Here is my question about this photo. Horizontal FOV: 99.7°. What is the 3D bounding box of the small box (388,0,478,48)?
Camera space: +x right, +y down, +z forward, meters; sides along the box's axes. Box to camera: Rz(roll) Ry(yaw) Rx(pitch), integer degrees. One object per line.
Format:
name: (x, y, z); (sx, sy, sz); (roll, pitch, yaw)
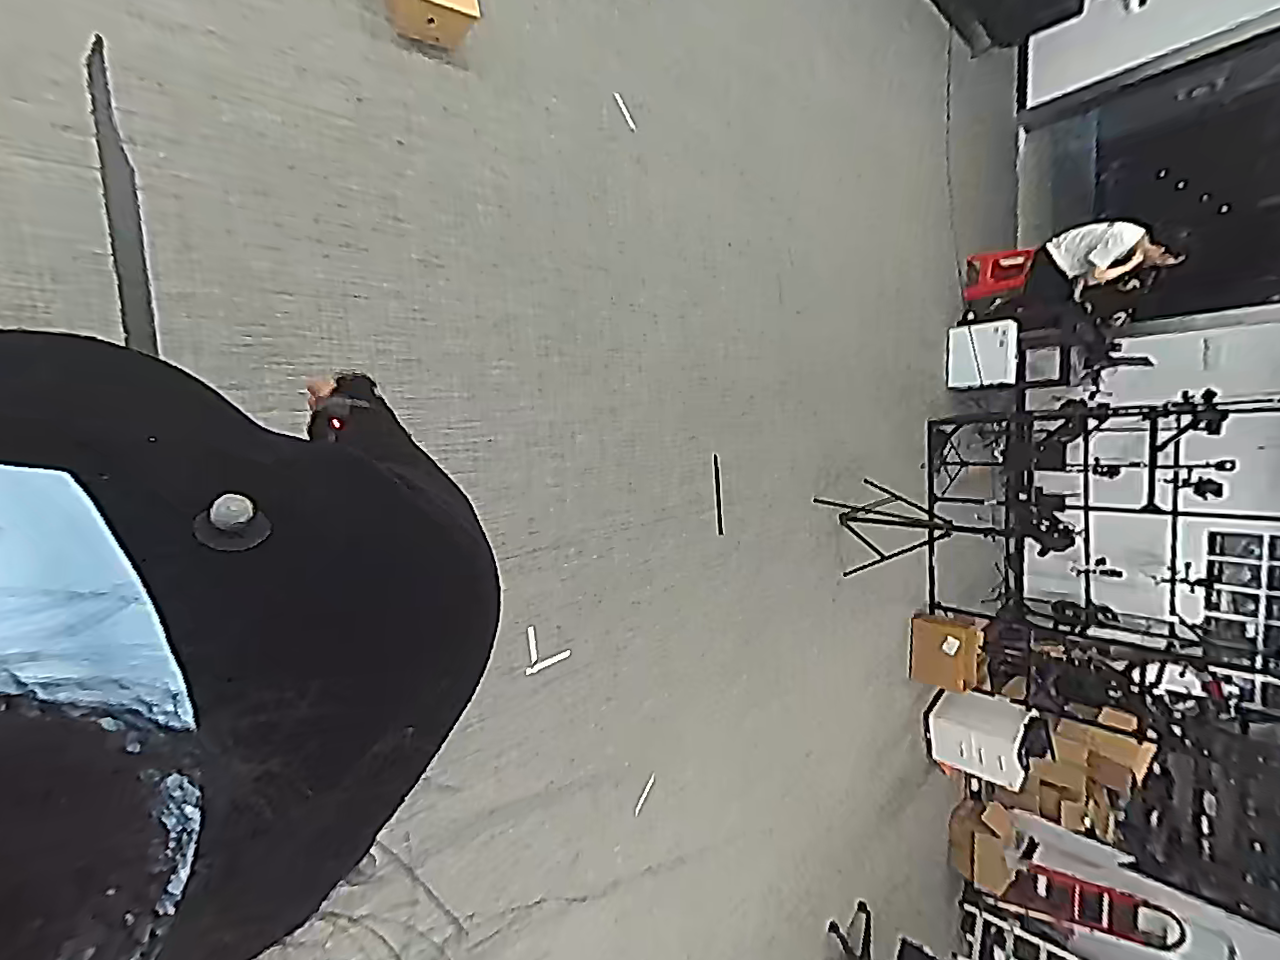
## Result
small box: (-0.547, -1.277, 1.403); (0.168, 0.176, 0.179); (-18, 104, -41)
